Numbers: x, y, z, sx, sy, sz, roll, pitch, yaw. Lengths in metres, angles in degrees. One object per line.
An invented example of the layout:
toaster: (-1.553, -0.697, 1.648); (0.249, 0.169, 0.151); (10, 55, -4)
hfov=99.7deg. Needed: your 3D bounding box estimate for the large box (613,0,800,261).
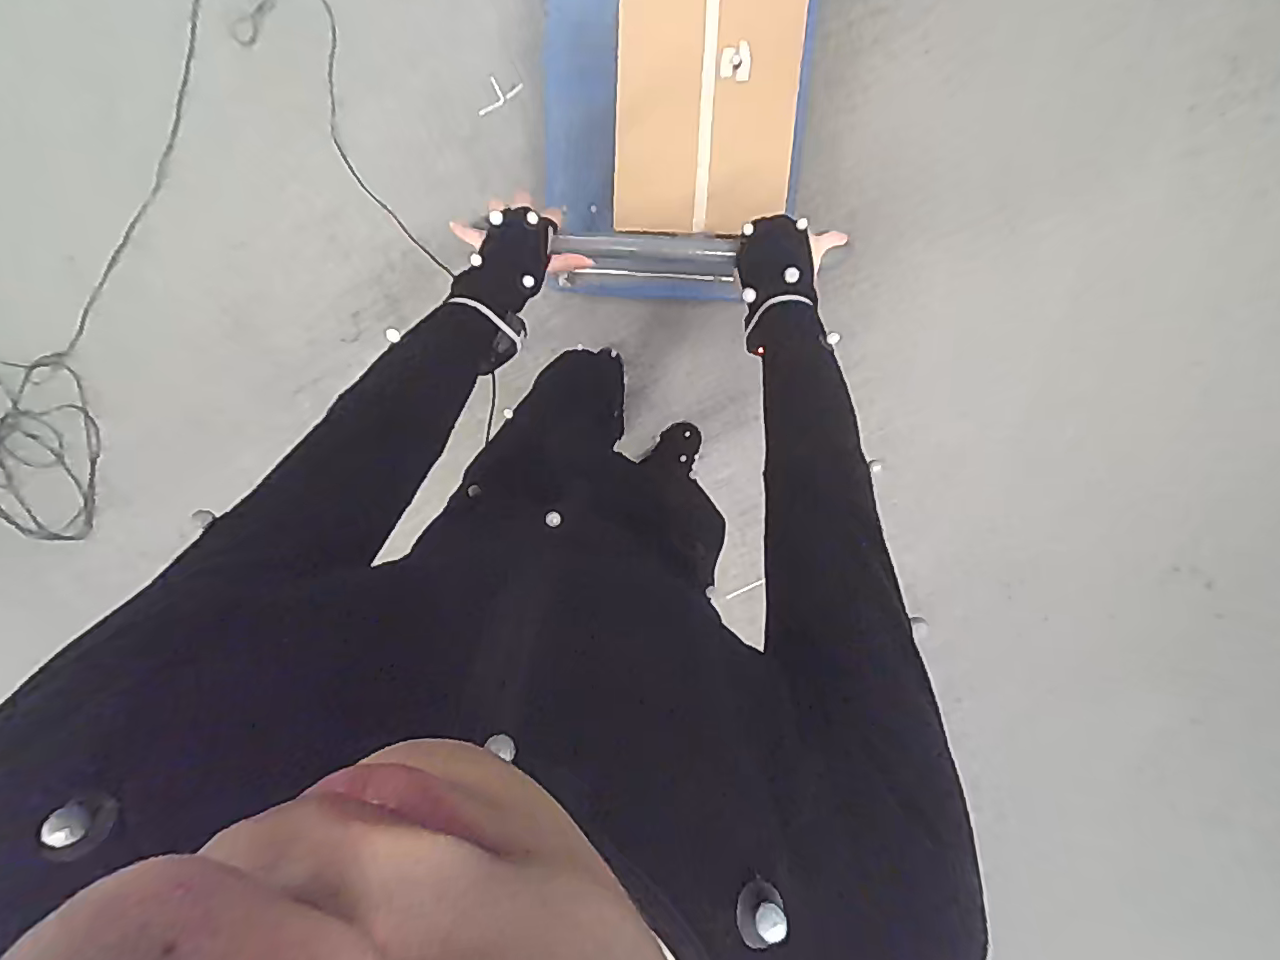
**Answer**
large box: (0.122, -0.684, 1.109); (0.320, 0.320, 0.408); (4, 105, 2)
